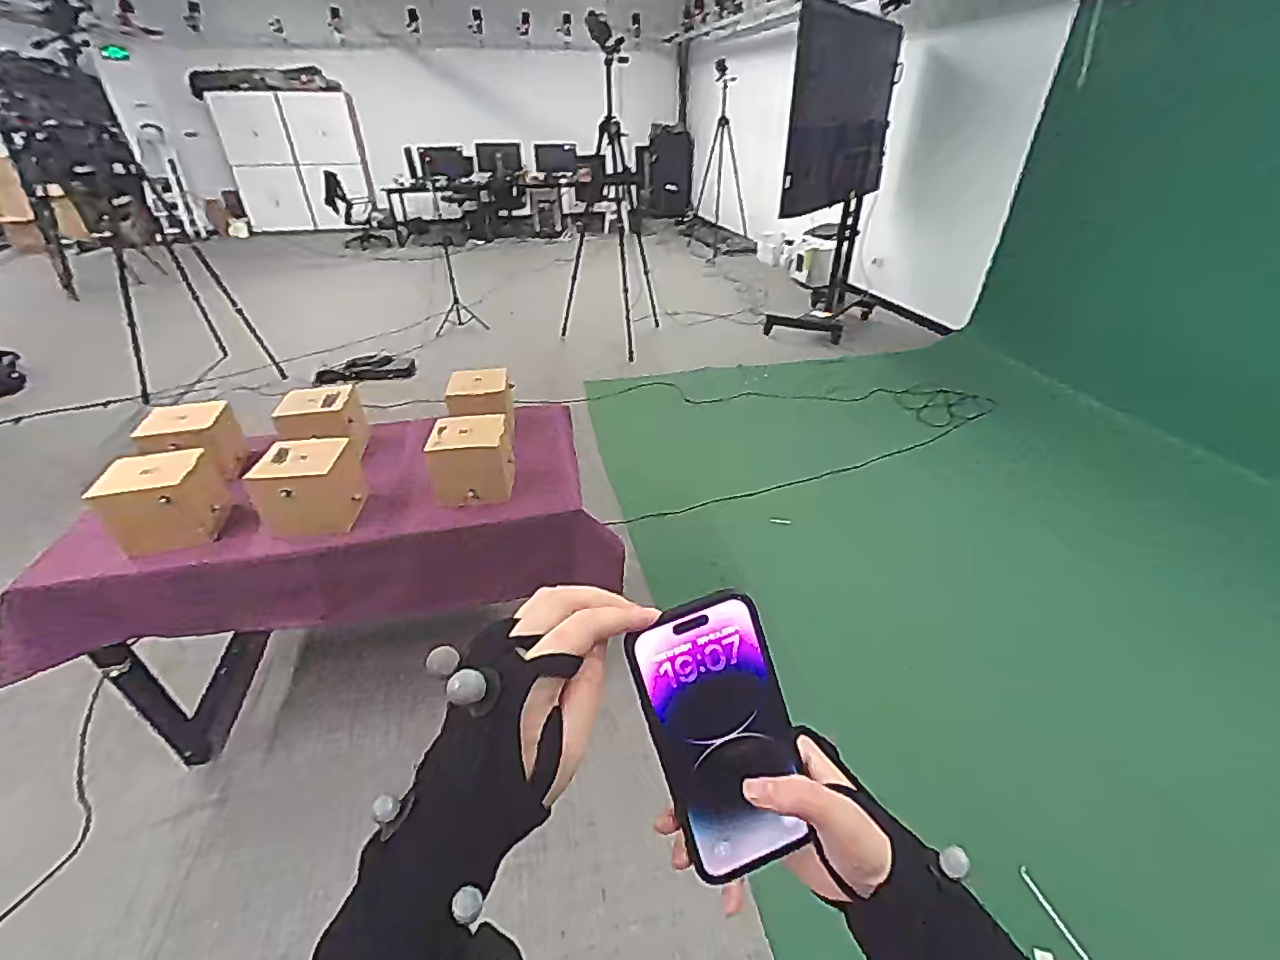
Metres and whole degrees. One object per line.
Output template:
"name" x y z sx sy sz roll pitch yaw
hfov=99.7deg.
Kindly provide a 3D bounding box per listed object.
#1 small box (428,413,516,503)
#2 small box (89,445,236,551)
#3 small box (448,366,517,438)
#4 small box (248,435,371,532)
"small box" -0.417 -0.057 1.375 0.179 0.176 0.168 -3 34 -4
"small box" -1.080 0.042 1.242 0.179 0.176 0.168 -10 35 -16
"small box" -0.469 -0.231 1.631 0.168 0.176 0.179 -6 35 -7
"small box" -0.771 0.009 1.284 0.179 0.176 0.168 -3 34 -6
